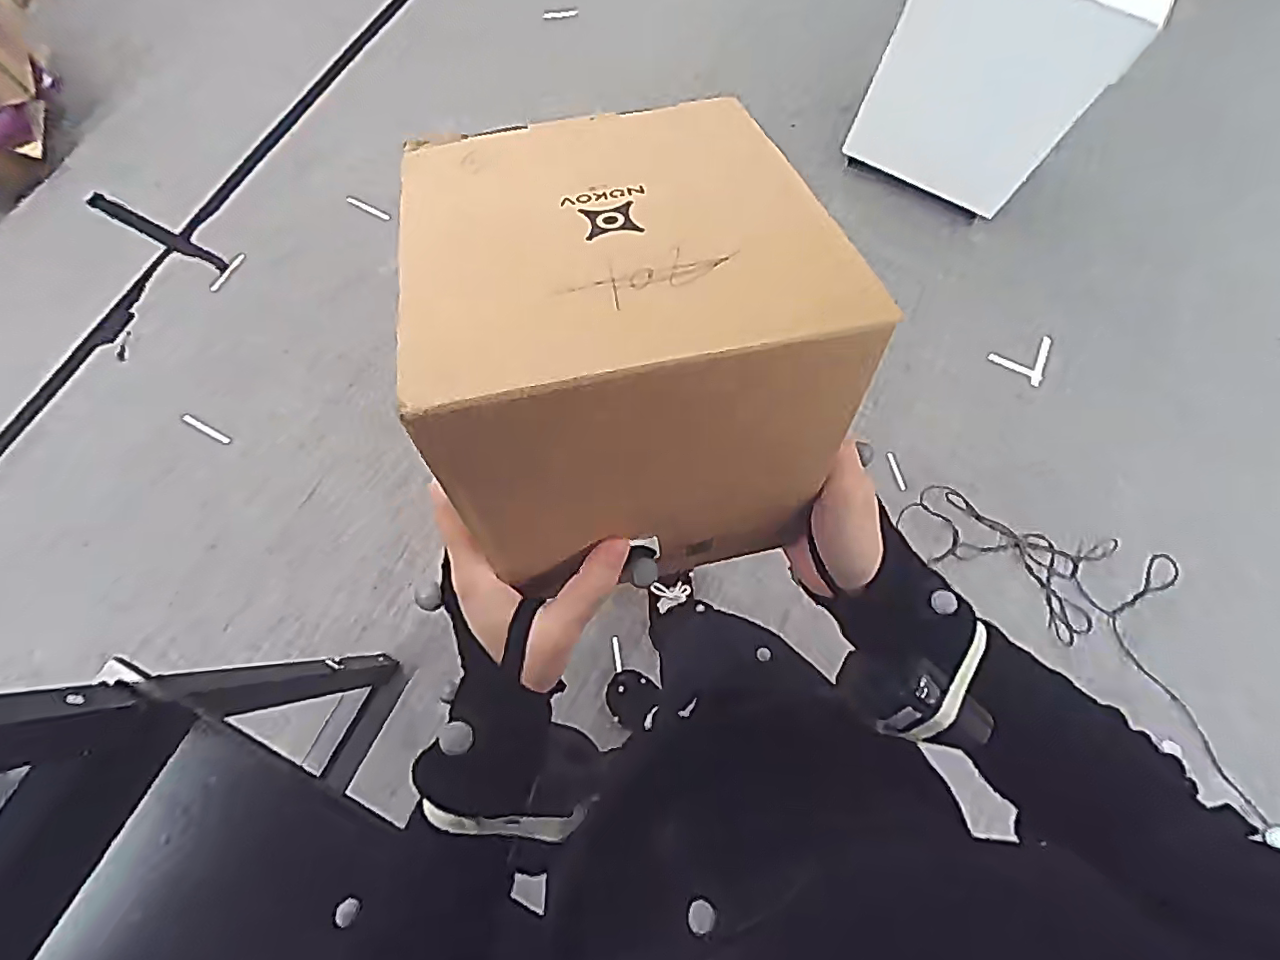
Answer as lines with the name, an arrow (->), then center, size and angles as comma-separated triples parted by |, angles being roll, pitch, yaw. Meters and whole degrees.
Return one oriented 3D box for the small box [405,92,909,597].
small box -> -0.006, -0.063, 0.281 | 0.168, 0.176, 0.179 | -12, 58, -5
